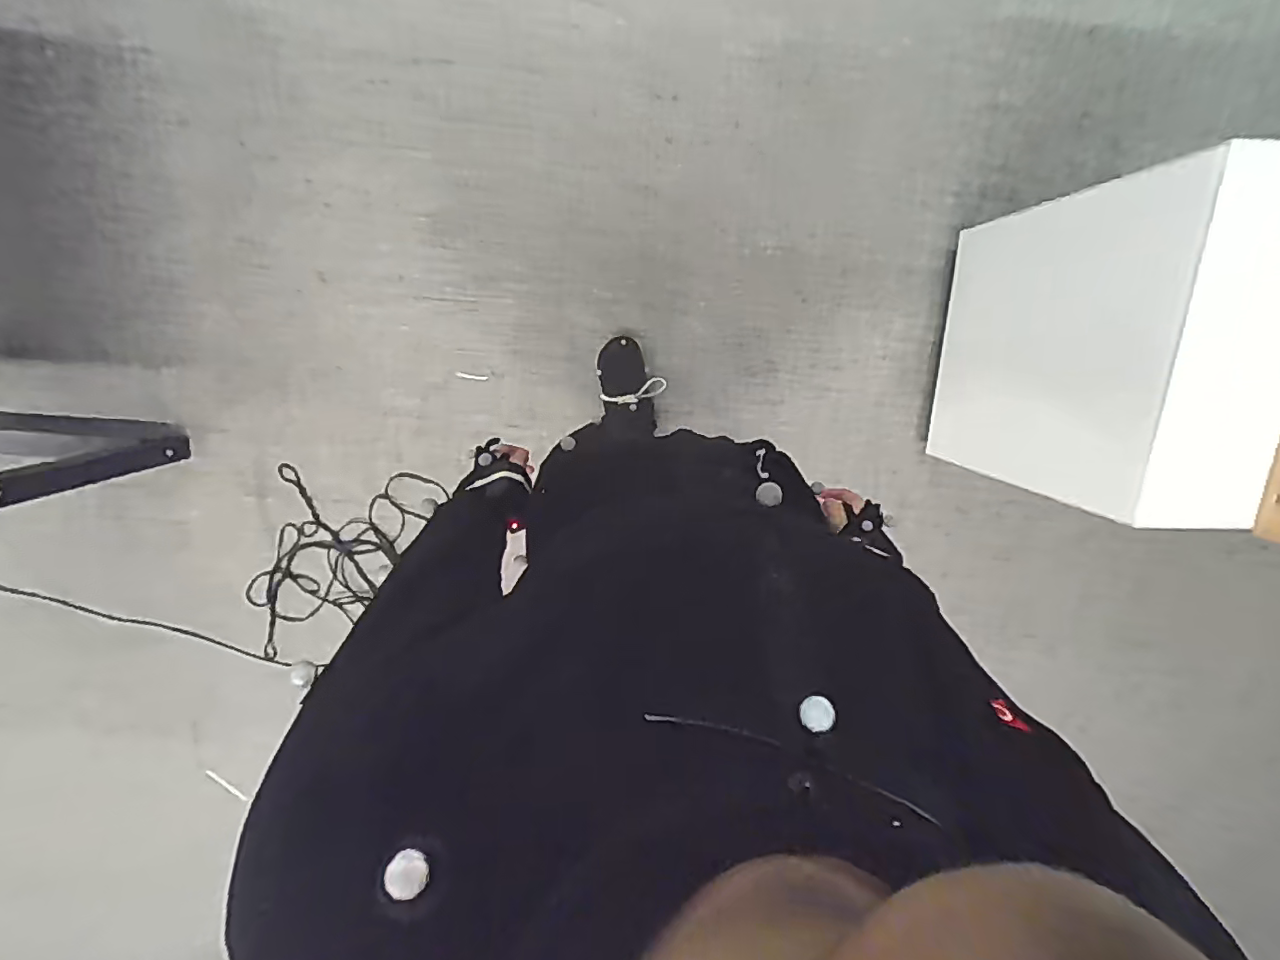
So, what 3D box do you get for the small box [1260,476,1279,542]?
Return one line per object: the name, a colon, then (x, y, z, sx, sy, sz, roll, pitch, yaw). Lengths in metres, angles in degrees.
small box: (0.994, 0.026, 0.703, 0.179, 0.176, 0.168, 1, 104, -3)
